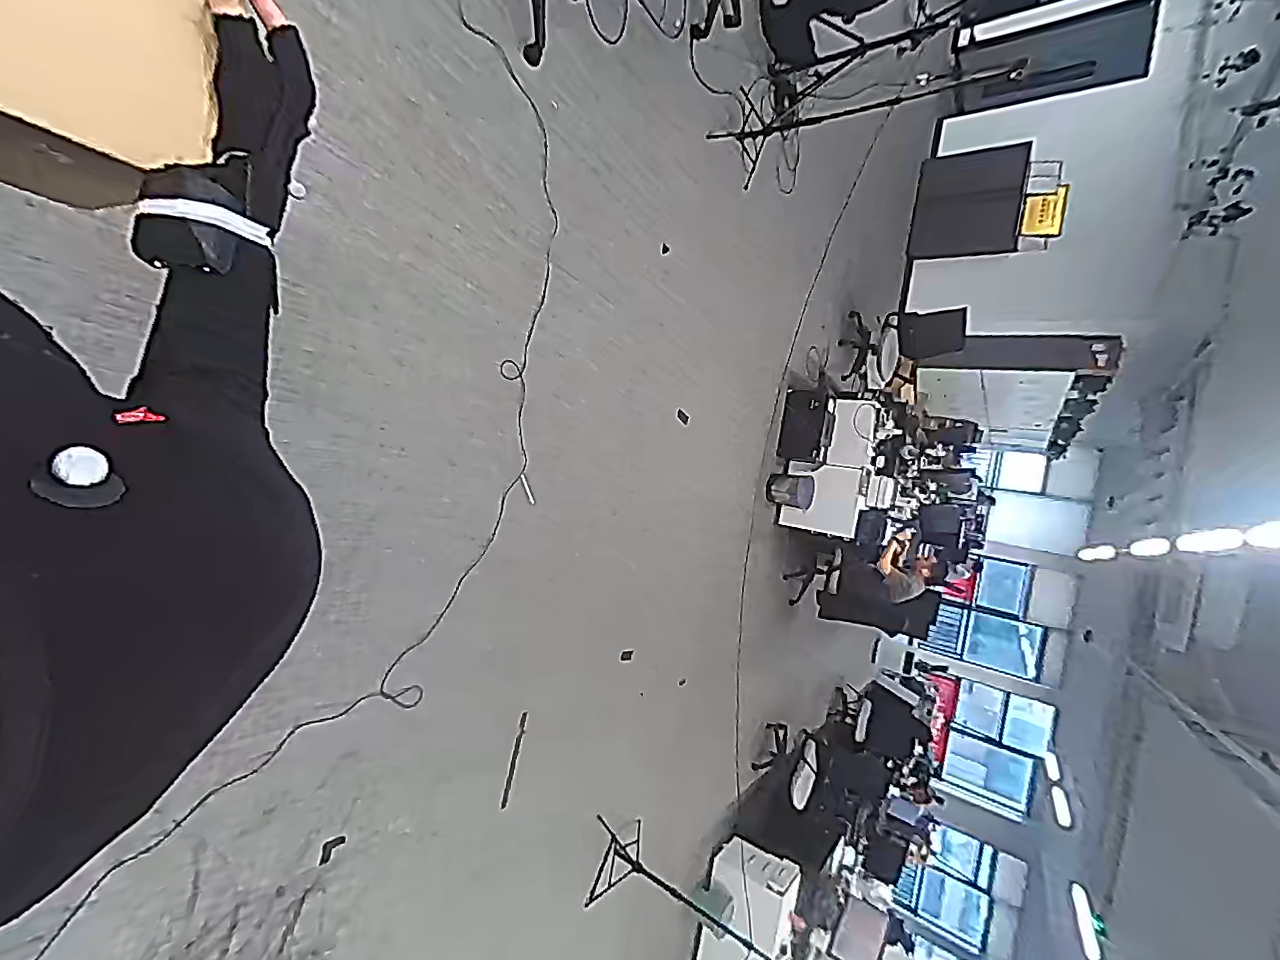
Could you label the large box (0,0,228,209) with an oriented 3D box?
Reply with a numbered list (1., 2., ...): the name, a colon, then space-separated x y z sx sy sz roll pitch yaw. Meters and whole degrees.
1. large box: -0.539 -0.406 0.316 0.408 0.320 0.320 5 99 -59
